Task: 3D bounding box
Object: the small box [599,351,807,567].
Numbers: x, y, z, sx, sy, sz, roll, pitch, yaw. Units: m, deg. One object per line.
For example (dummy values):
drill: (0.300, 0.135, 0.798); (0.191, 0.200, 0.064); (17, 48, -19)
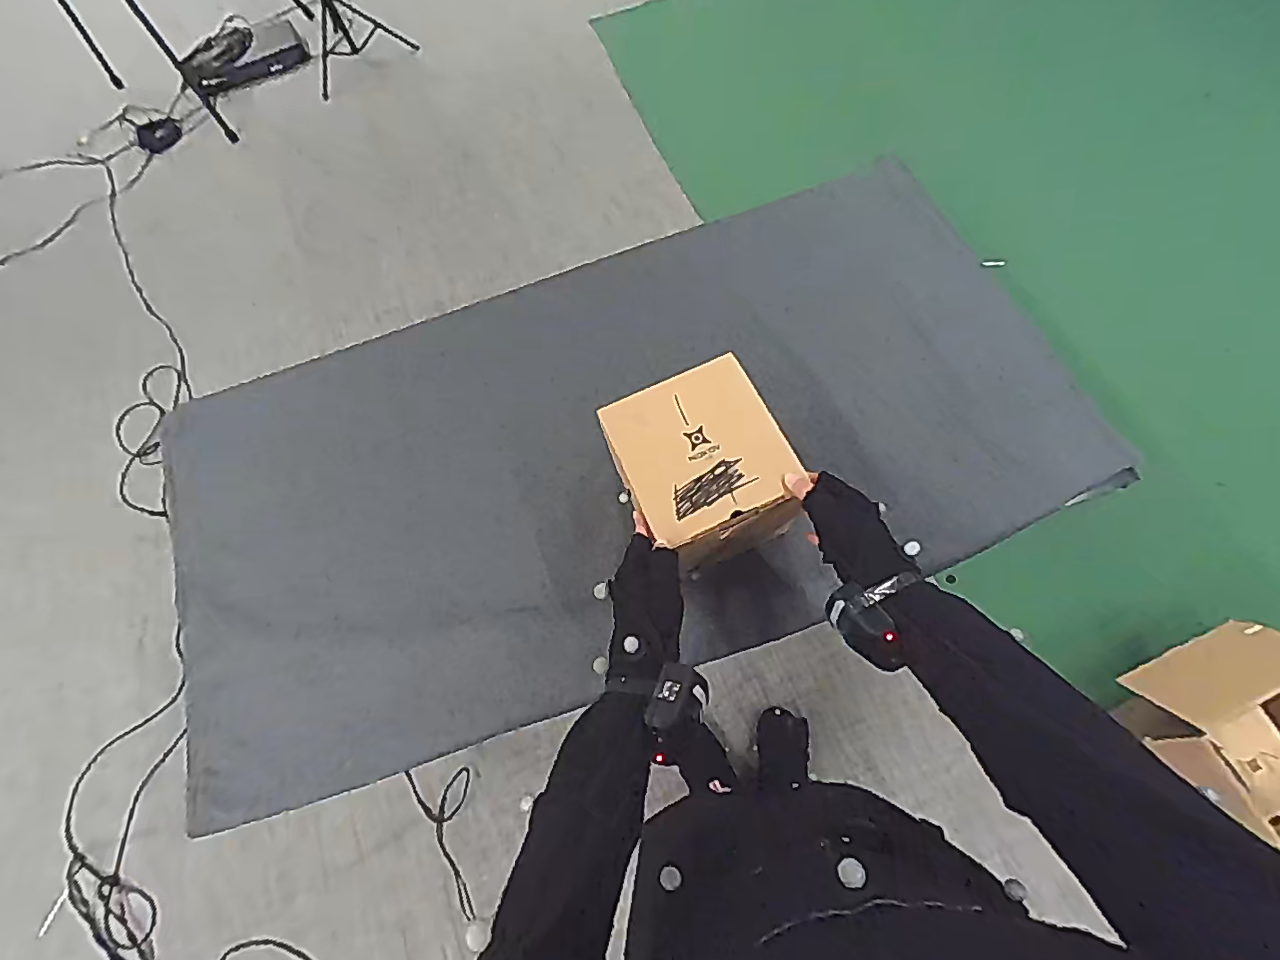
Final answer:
small box: (0.070, -0.011, 0.633); (0.168, 0.176, 0.179); (-23, 68, -4)
